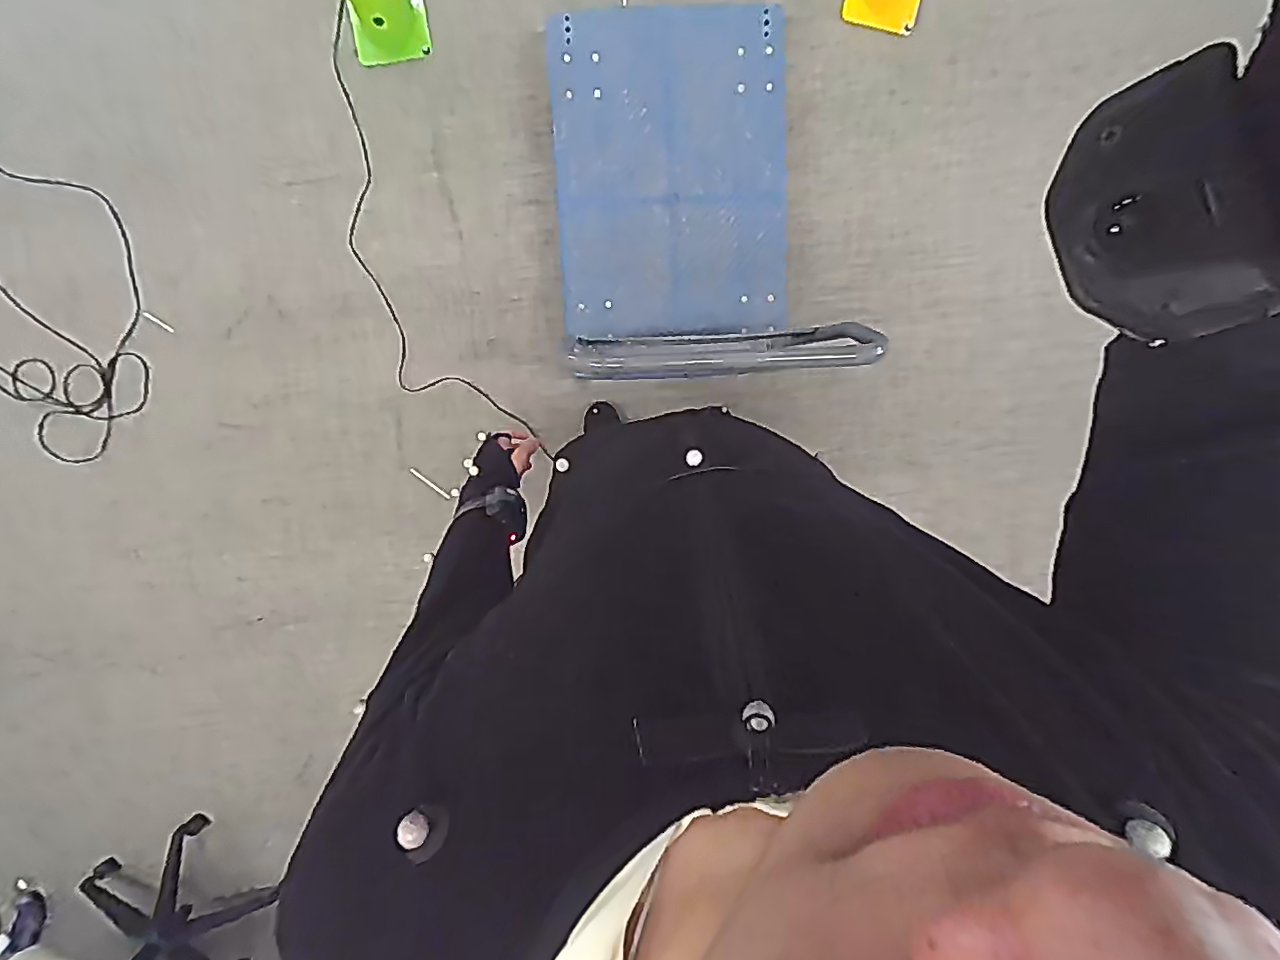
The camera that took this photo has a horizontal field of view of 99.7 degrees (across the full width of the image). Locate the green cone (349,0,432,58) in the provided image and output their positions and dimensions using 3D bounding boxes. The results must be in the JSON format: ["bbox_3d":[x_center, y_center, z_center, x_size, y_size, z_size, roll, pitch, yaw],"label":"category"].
[{"bbox_3d":[-0.668,-1.215,1.260,0.202,0.368,0.200,-9,99,3],"label":"green cone"}]
